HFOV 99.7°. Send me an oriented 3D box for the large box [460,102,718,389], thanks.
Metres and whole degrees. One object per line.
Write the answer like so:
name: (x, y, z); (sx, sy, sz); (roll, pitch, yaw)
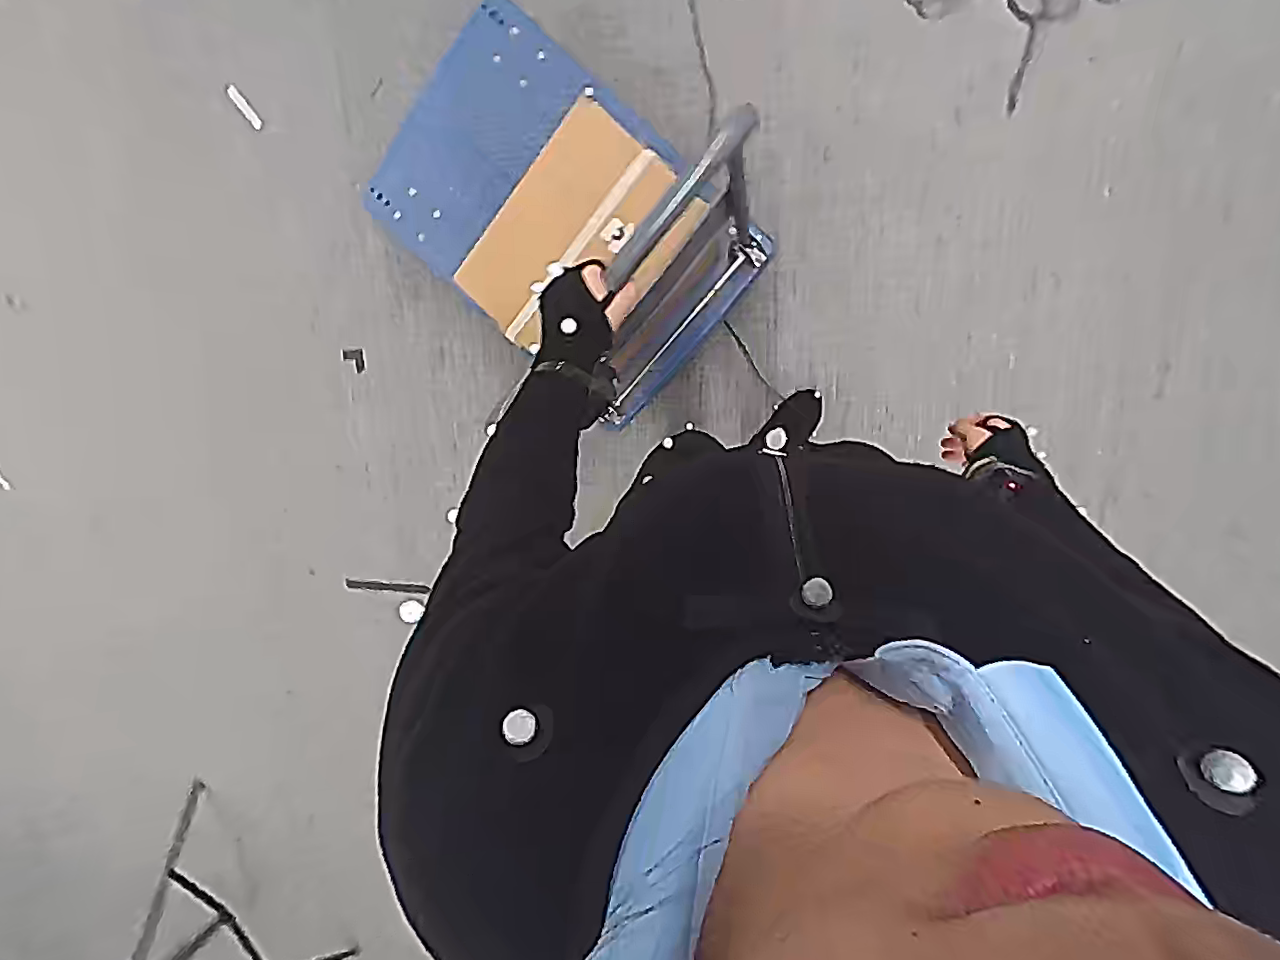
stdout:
large box: (-0.084, -0.439, 1.128); (0.320, 0.320, 0.408); (43, 104, -1)
